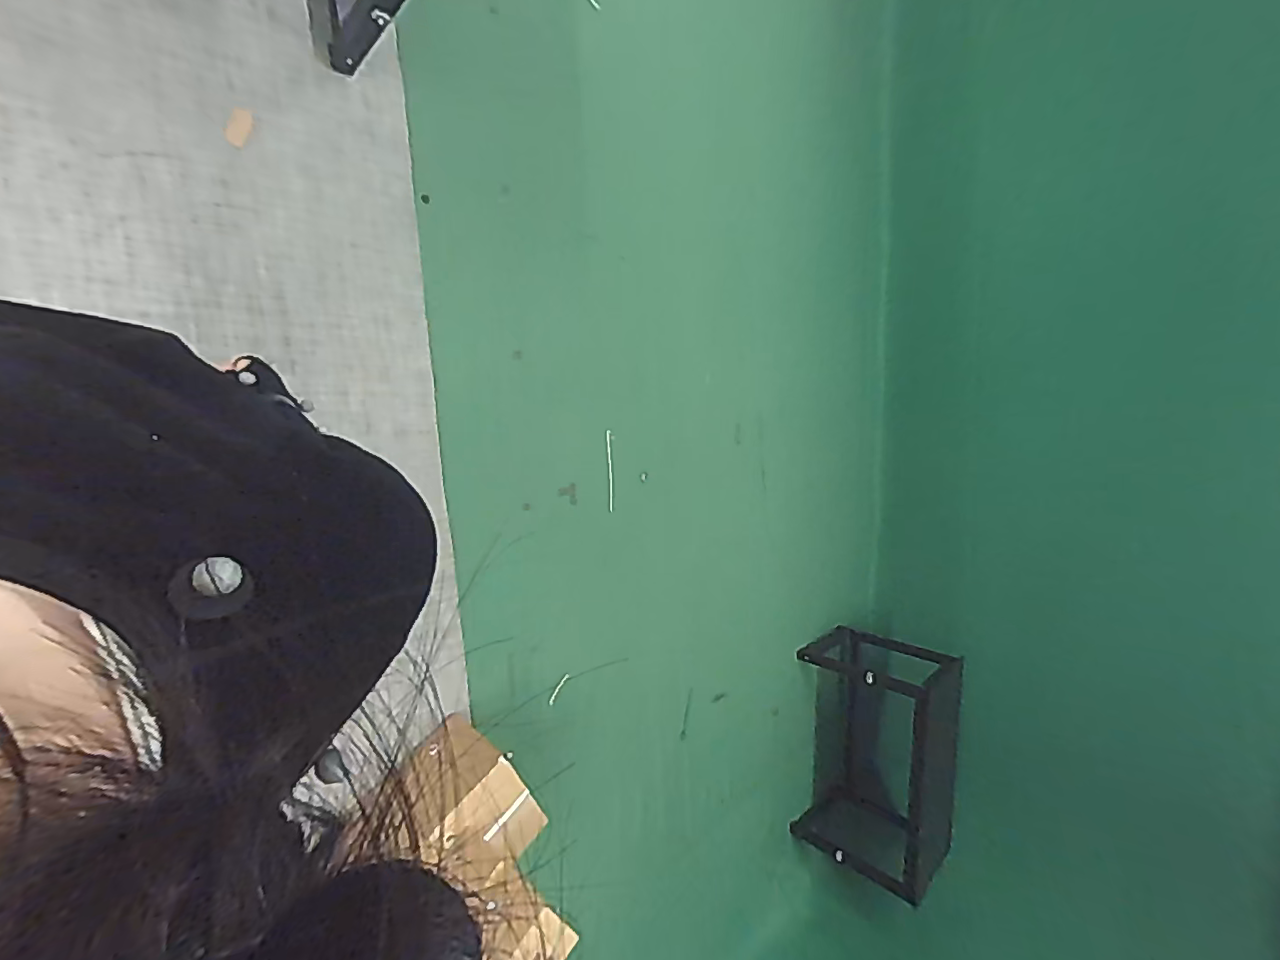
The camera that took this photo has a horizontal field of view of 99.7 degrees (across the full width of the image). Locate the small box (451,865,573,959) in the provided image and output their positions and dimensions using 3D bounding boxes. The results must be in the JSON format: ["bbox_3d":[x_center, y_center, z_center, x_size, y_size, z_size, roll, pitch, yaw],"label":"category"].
[{"bbox_3d":[-0.292,1.034,1.235,0.168,0.176,0.179,-45,124,-33],"label":"small box"}]
